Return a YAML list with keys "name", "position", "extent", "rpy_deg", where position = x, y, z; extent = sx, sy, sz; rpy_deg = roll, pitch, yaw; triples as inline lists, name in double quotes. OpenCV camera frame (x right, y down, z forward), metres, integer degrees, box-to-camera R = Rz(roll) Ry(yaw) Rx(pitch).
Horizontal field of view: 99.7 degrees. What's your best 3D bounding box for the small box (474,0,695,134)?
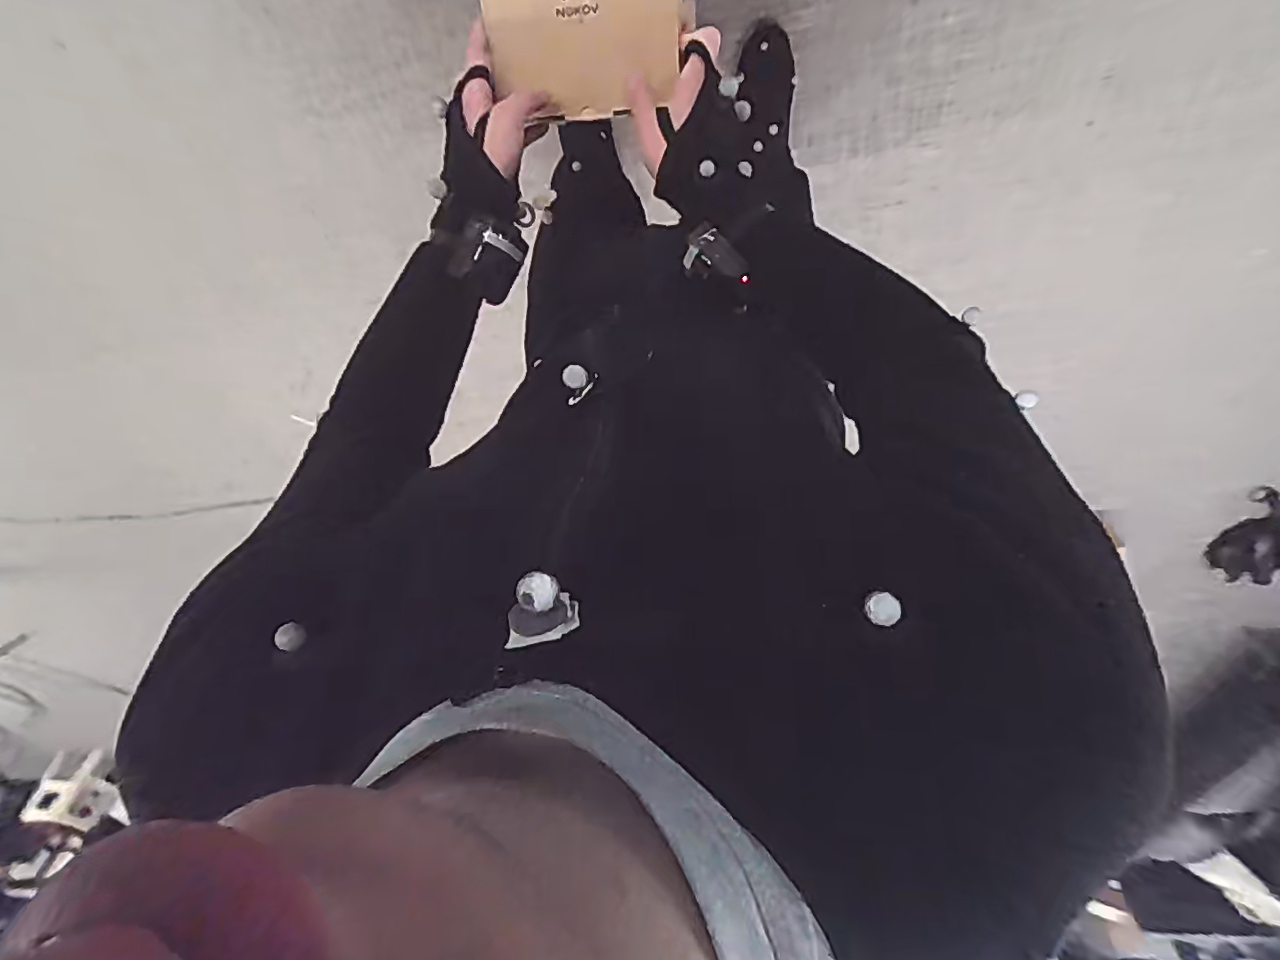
- name: "small box"
  position: [-0.040, -0.429, 0.495]
  extent: [0.168, 0.176, 0.179]
  rpy_deg: [2, 123, 12]
